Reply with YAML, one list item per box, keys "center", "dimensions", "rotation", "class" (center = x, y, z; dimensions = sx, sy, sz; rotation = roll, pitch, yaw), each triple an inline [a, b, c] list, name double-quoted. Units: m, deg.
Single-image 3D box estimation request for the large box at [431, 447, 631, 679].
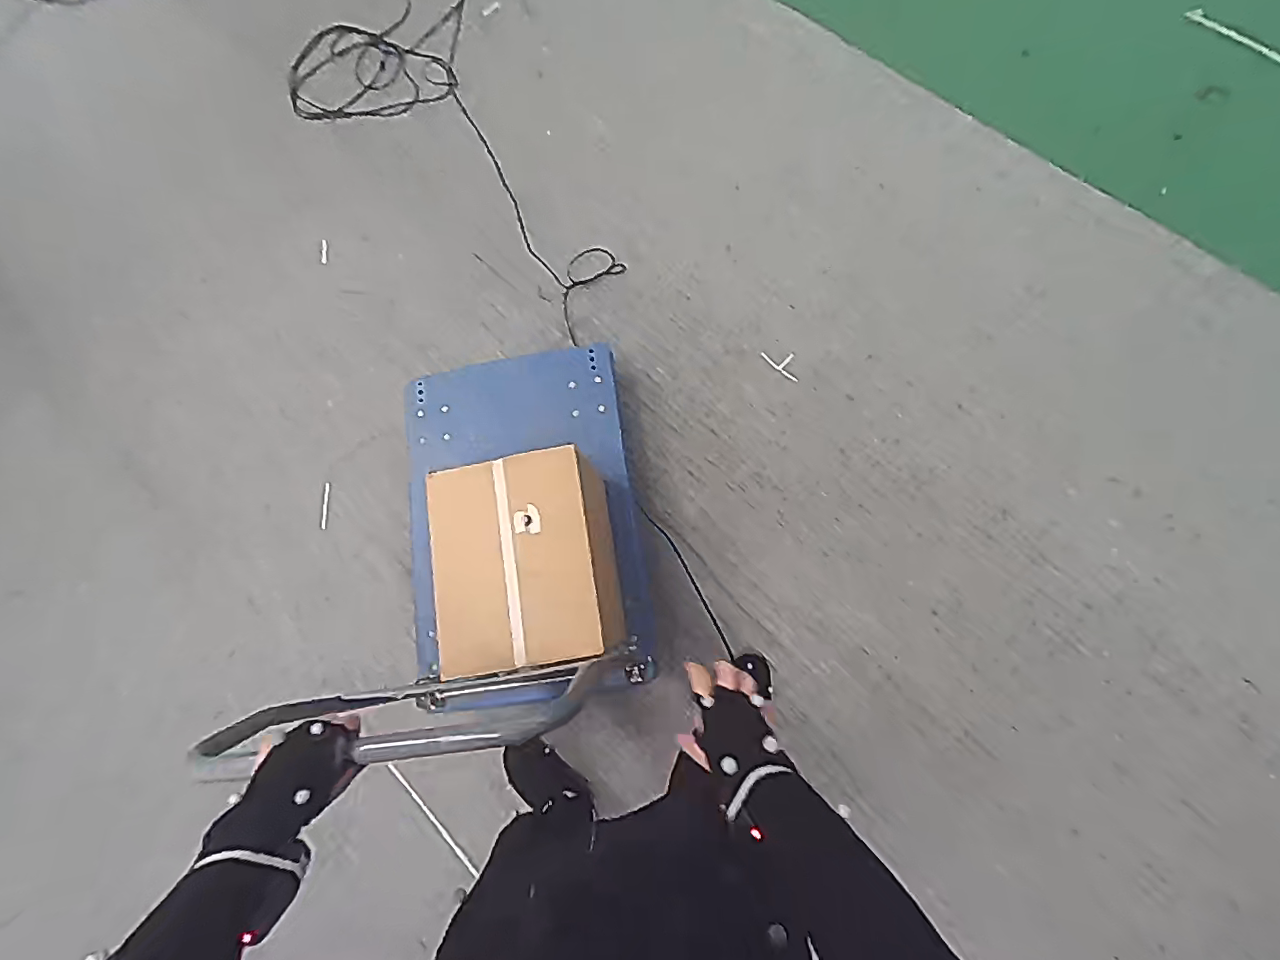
- center: [-0.221, 0.186, 1.175]
  dimensions: [0.320, 0.320, 0.408]
  rotation: [-11, 75, 4]
  class: "large box"
